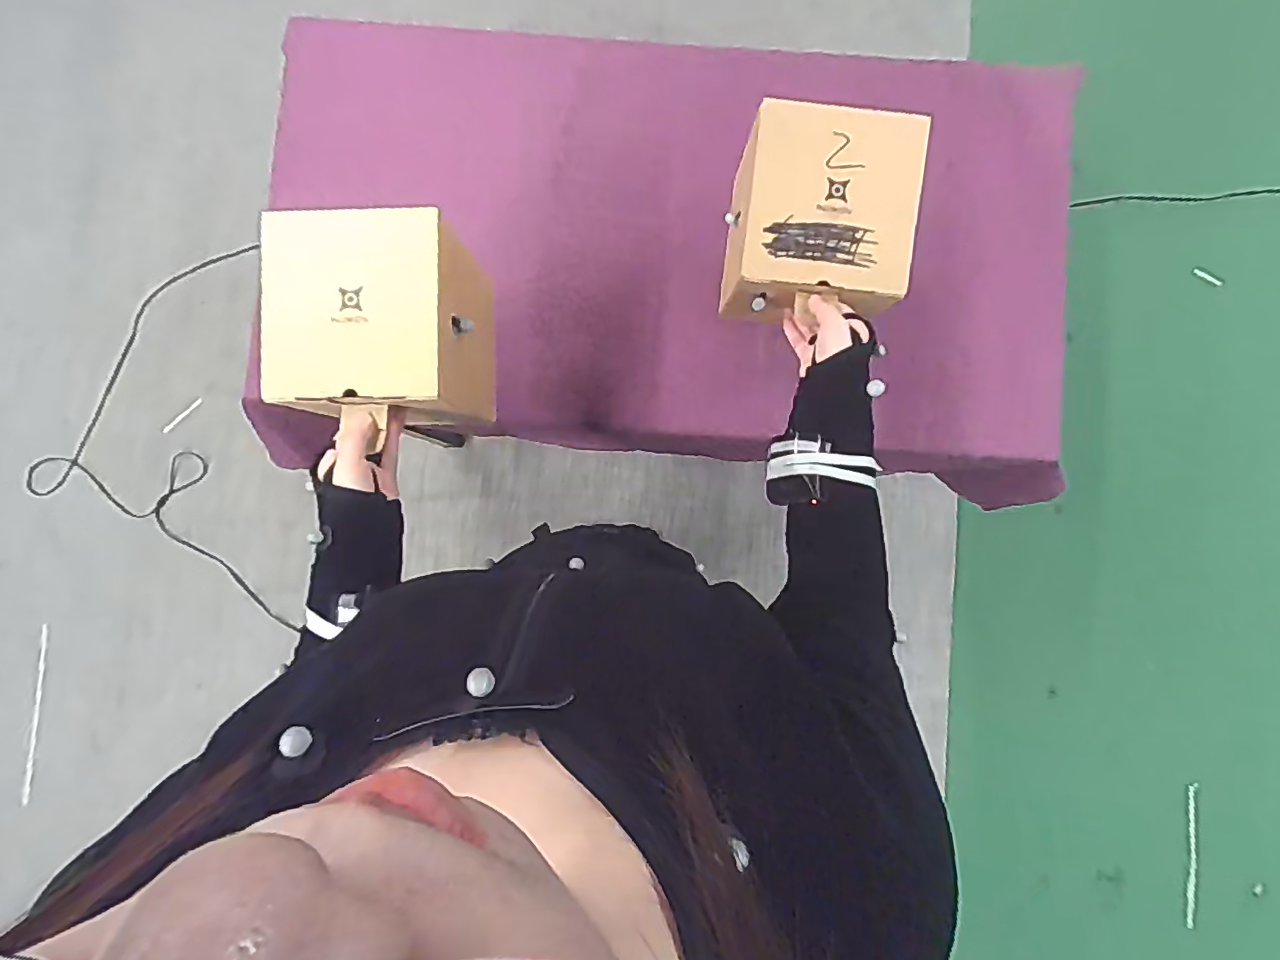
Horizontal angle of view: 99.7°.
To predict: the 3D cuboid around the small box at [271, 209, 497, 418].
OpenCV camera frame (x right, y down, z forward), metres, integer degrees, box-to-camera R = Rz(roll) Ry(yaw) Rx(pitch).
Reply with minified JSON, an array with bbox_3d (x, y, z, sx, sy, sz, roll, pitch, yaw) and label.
[{"bbox_3d":[-0.259,-0.166,0.585,0.168,0.176,0.179,0,90,2],"label":"small box"}]
